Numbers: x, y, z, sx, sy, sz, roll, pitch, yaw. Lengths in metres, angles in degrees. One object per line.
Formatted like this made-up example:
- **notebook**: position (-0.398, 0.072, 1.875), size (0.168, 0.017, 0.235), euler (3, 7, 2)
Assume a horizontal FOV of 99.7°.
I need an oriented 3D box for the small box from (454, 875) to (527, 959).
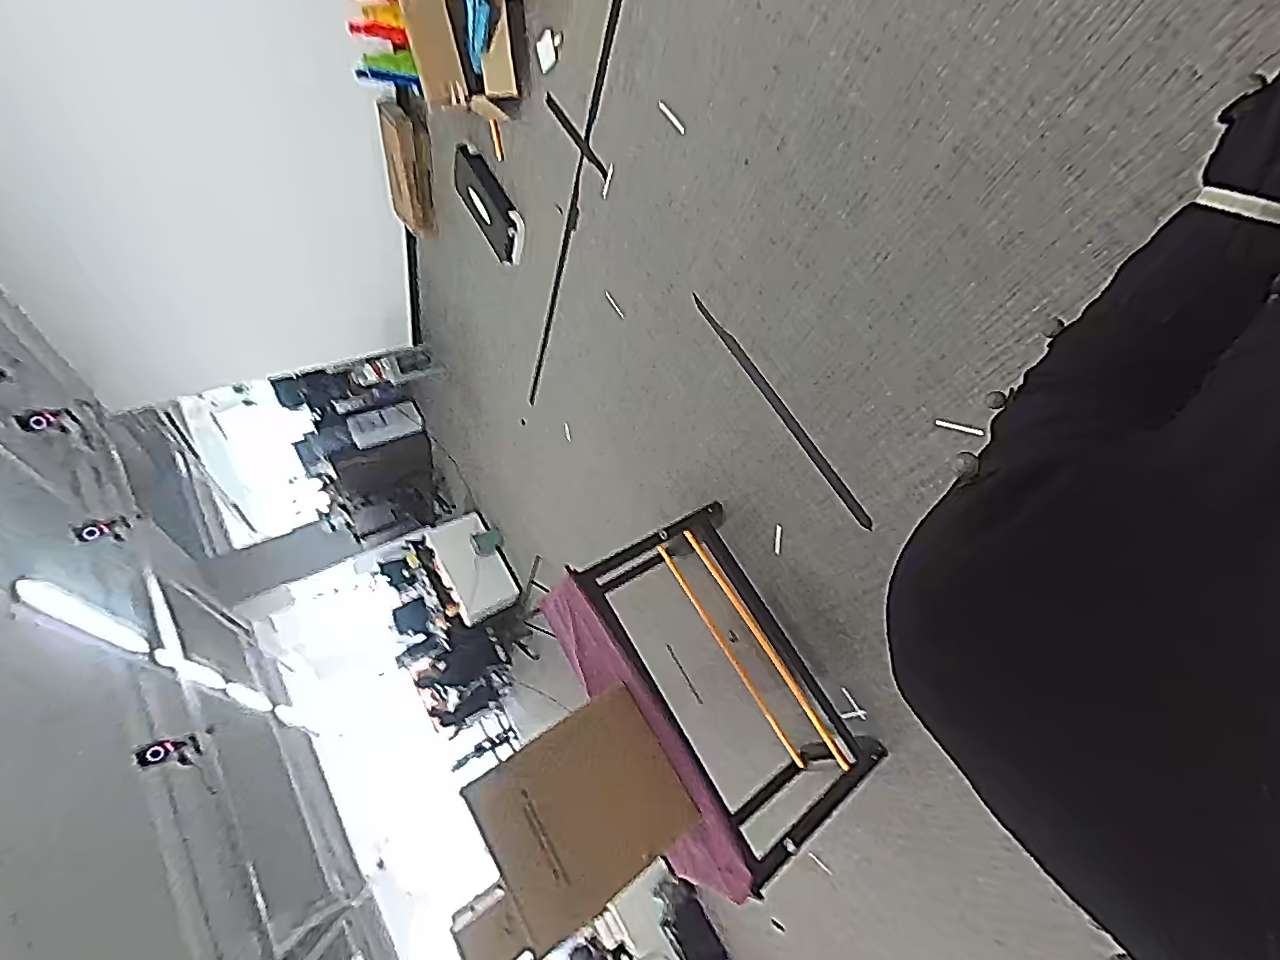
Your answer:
- **small box**: position (-0.484, 1.417, 1.738), size (0.179, 0.176, 0.168), euler (57, 150, 18)
